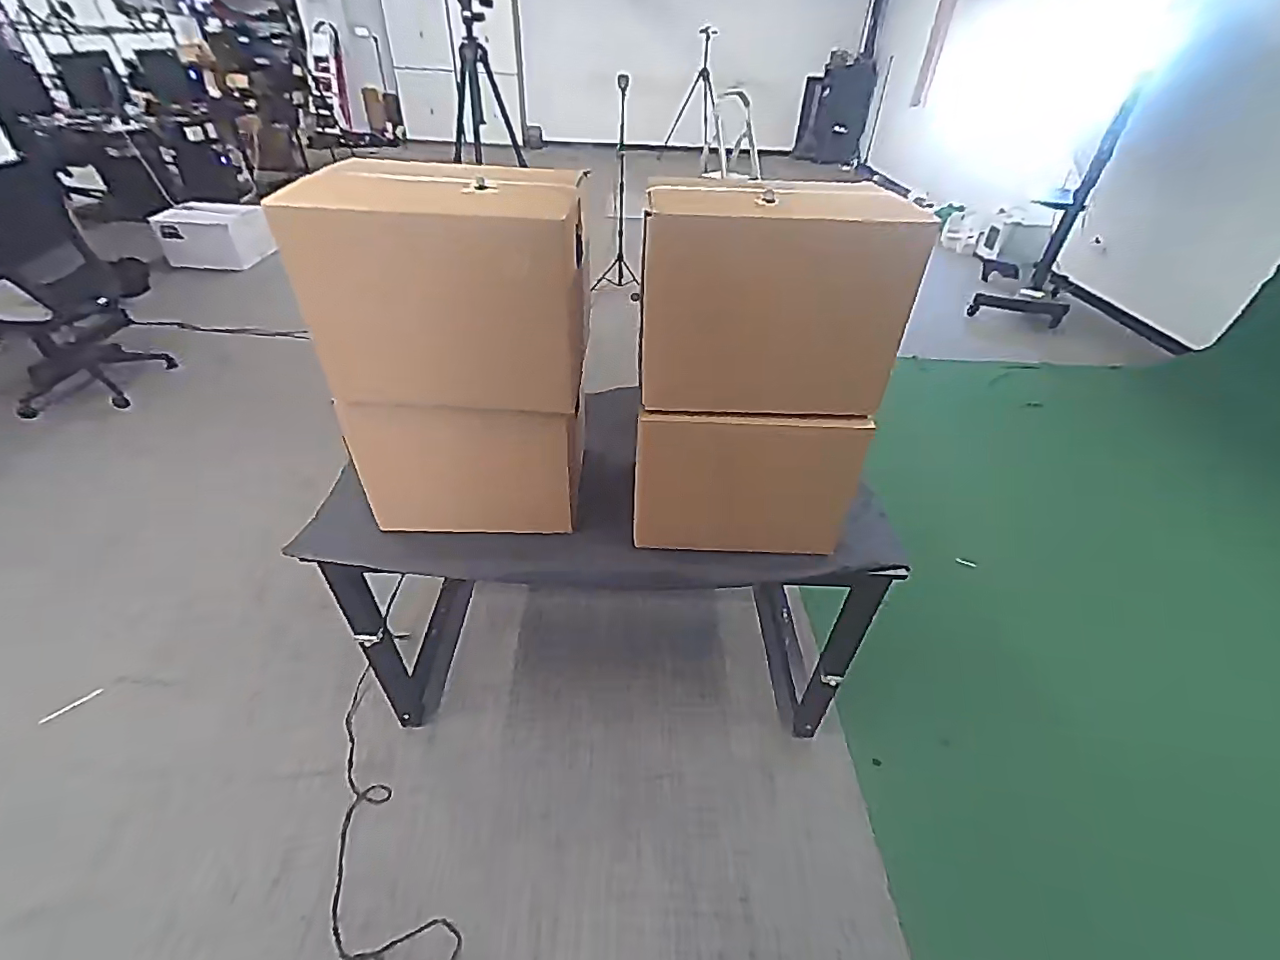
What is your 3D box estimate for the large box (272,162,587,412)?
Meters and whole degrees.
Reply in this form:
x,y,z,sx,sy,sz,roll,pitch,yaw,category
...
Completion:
x,y,z,sx,sy,sz,roll,pitch,yaw,category
-0.304,-0.332,0.931,0.408,0.320,0.320,3,41,-3,large box
